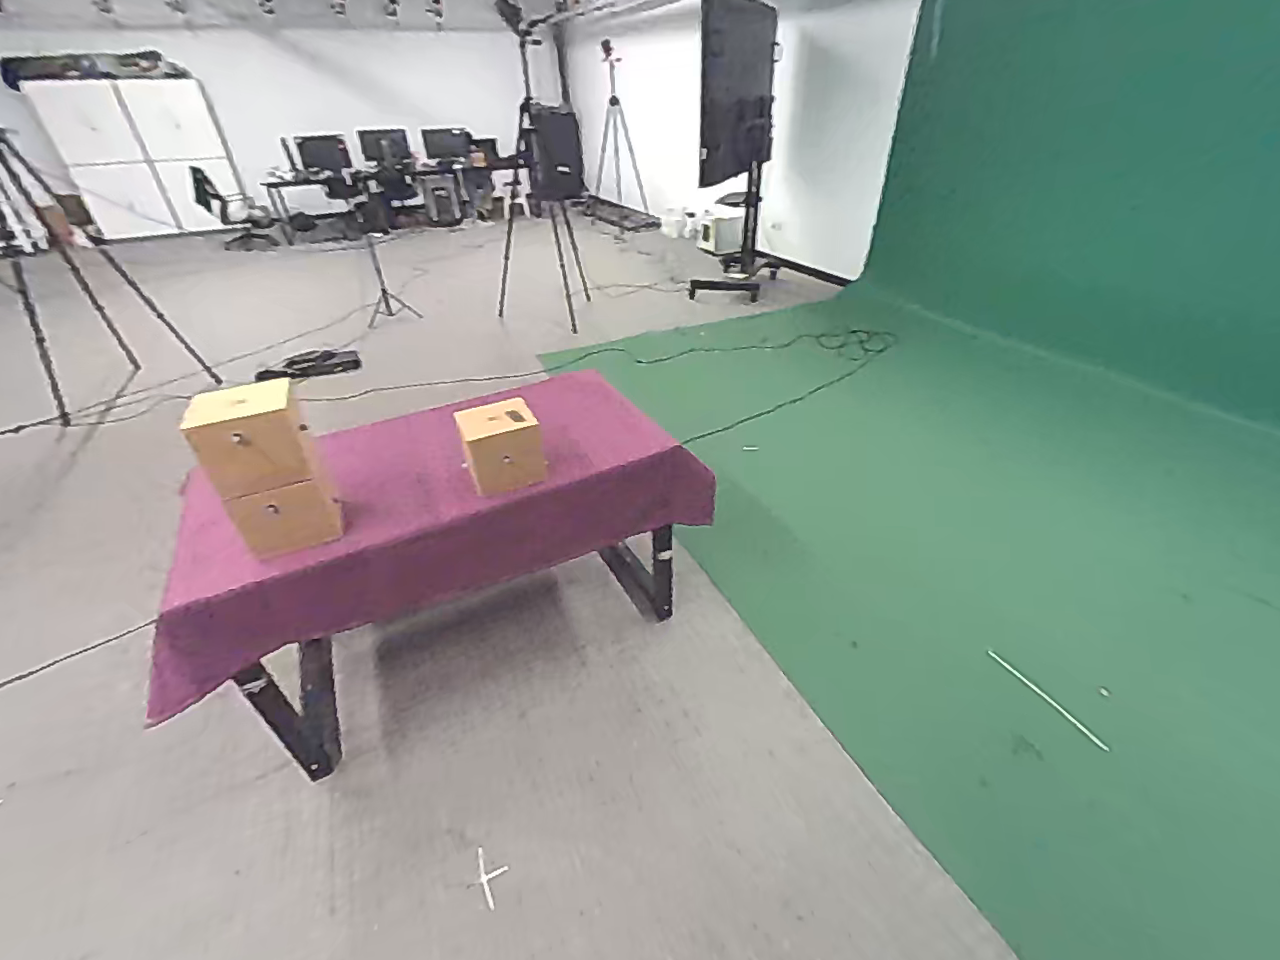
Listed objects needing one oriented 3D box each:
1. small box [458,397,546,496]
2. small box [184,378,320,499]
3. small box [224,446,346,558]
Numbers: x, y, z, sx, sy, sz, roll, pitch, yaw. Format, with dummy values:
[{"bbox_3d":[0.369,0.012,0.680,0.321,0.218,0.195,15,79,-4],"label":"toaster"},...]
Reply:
[{"bbox_3d":[-0.345,-0.085,1.374,0.179,0.176,0.168,-18,38,-19],"label":"small box"},{"bbox_3d":[-0.786,-0.087,1.120,0.179,0.176,0.168,-18,38,-19],"label":"small box"},{"bbox_3d":[-0.784,0.048,1.212,0.179,0.176,0.168,-17,38,-19],"label":"small box"}]
